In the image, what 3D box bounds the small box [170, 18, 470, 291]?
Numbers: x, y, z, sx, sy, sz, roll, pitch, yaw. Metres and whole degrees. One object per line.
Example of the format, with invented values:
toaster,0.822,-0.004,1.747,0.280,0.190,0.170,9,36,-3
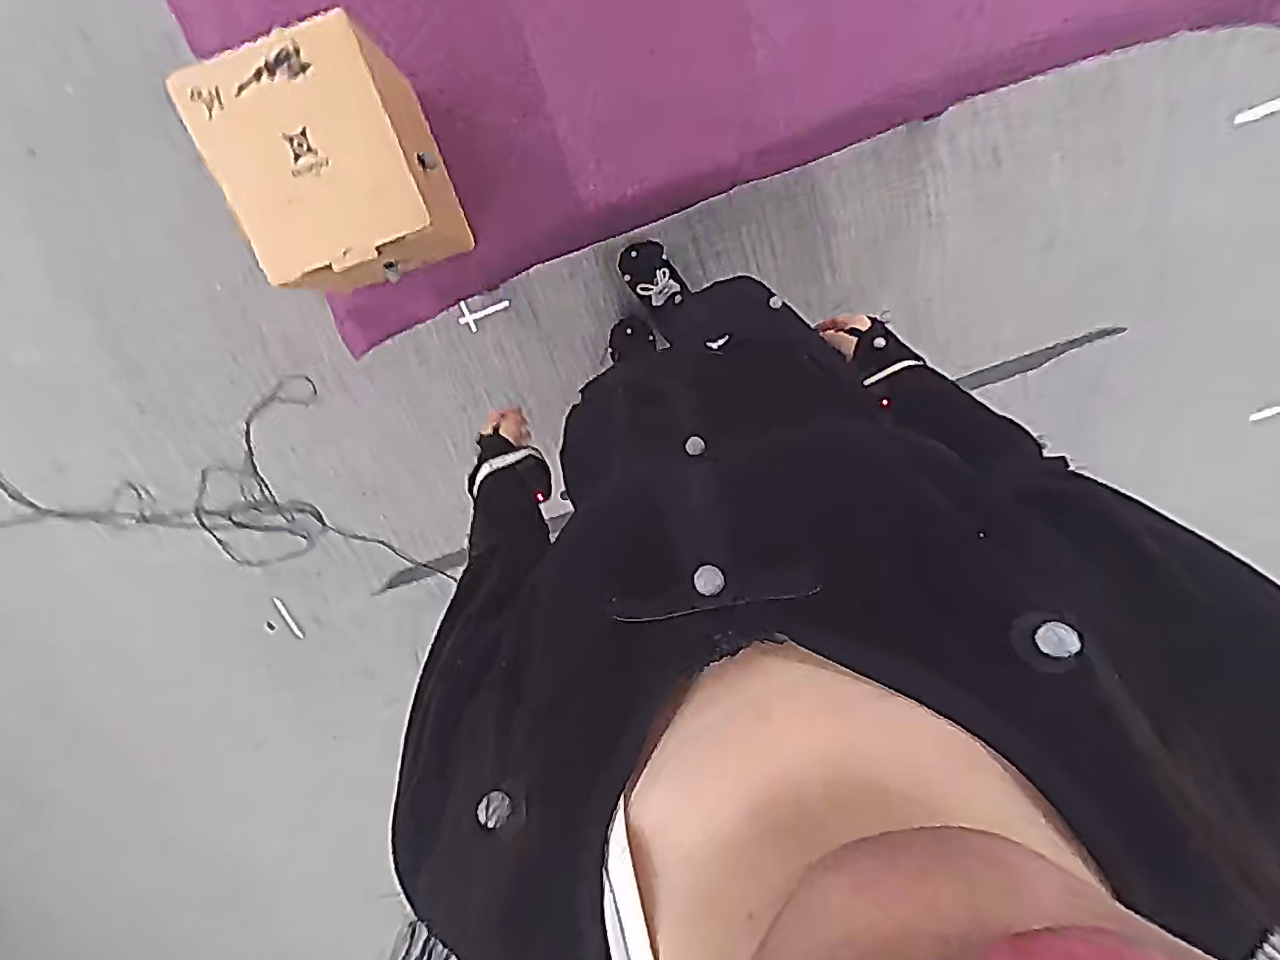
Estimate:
small box,-0.297,-0.306,0.552,0.168,0.176,0.179,-19,108,3
